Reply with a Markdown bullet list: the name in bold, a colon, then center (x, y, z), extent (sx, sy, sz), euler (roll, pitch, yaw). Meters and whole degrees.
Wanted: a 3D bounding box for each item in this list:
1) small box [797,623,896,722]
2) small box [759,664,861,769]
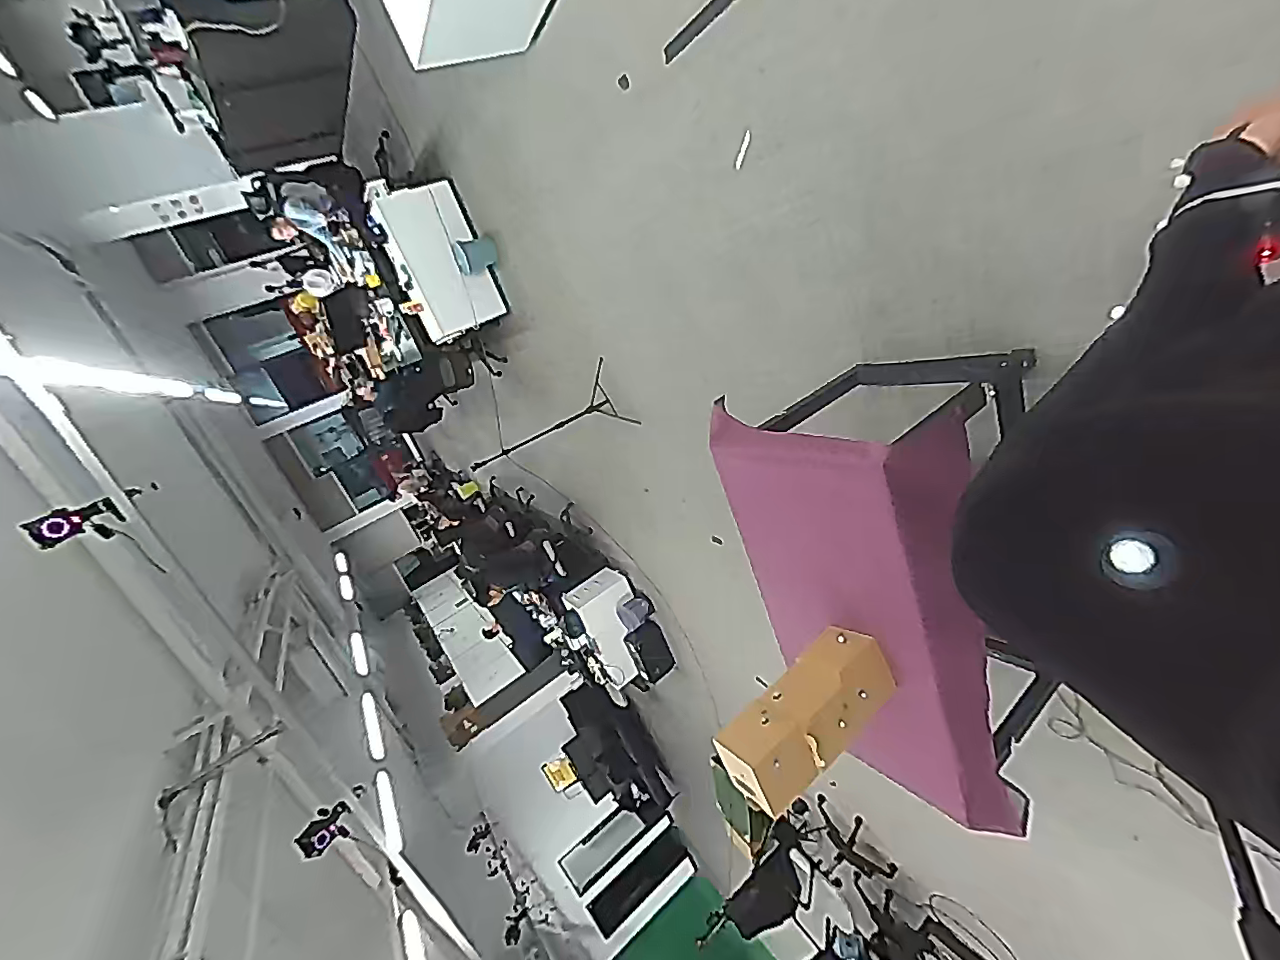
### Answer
- **small box**: center (0.589, 0.538, 1.532), extent (0.179, 0.176, 0.168), euler (63, 155, -10)
- **small box**: center (0.466, 0.635, 1.479), extent (0.179, 0.176, 0.168), euler (4, 123, 61)
